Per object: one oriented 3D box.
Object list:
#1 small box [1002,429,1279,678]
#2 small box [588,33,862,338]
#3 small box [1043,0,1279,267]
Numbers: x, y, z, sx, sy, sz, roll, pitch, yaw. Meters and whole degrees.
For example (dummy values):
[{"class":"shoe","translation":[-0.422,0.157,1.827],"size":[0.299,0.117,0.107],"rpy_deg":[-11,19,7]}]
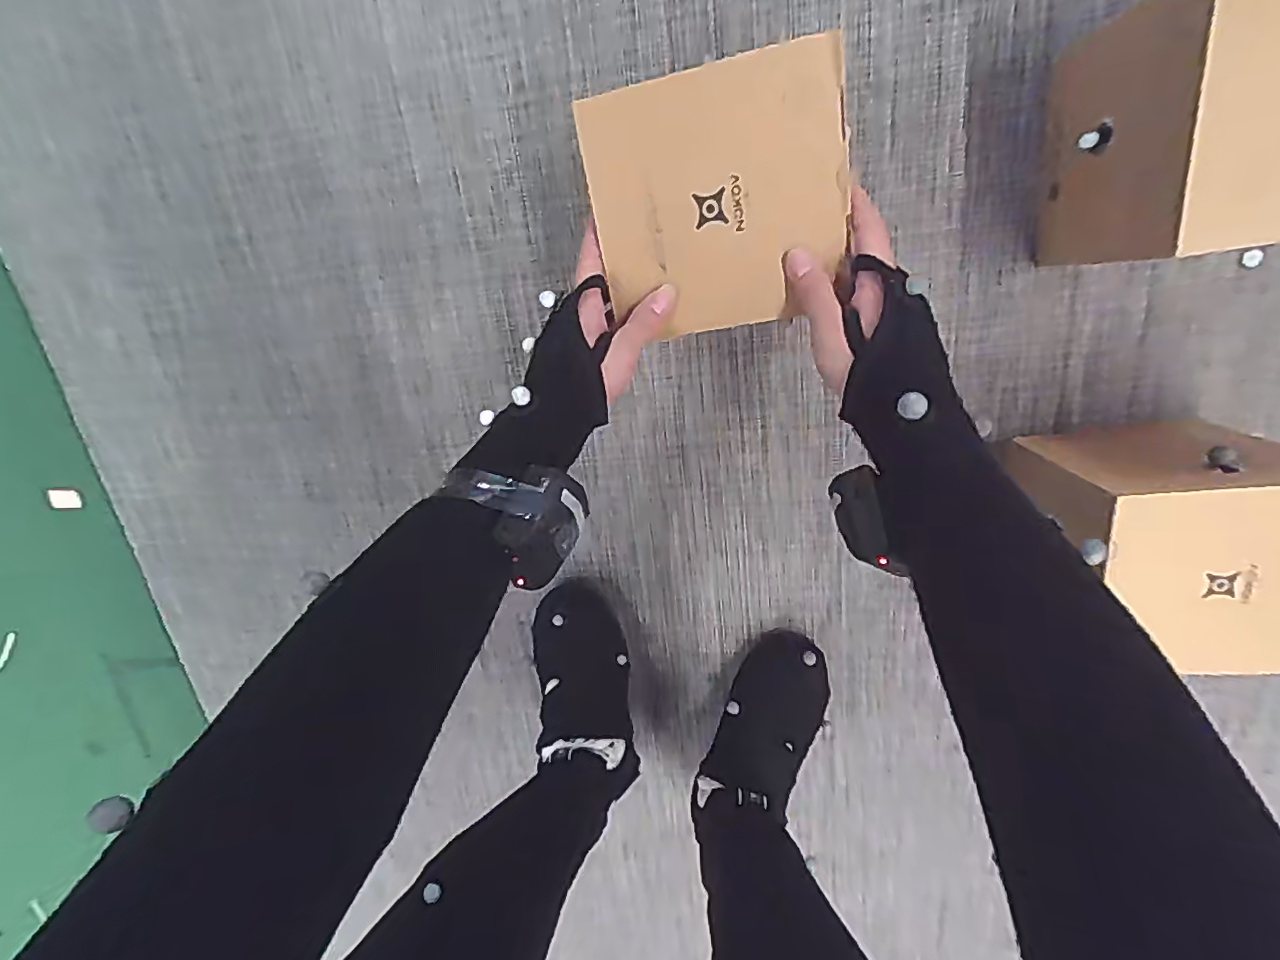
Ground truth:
[{"class":"small box","translation":[0.459,0.056,0.486],"size":[0.179,0.176,0.168],"rpy_deg":[-5,107,10]},{"class":"small box","translation":[0.073,-0.220,0.445],"size":[0.179,0.176,0.168],"rpy_deg":[-5,110,13]},{"class":"small box","translation":[0.427,-0.251,0.383],"size":[0.179,0.176,0.168],"rpy_deg":[-5,108,10]}]
